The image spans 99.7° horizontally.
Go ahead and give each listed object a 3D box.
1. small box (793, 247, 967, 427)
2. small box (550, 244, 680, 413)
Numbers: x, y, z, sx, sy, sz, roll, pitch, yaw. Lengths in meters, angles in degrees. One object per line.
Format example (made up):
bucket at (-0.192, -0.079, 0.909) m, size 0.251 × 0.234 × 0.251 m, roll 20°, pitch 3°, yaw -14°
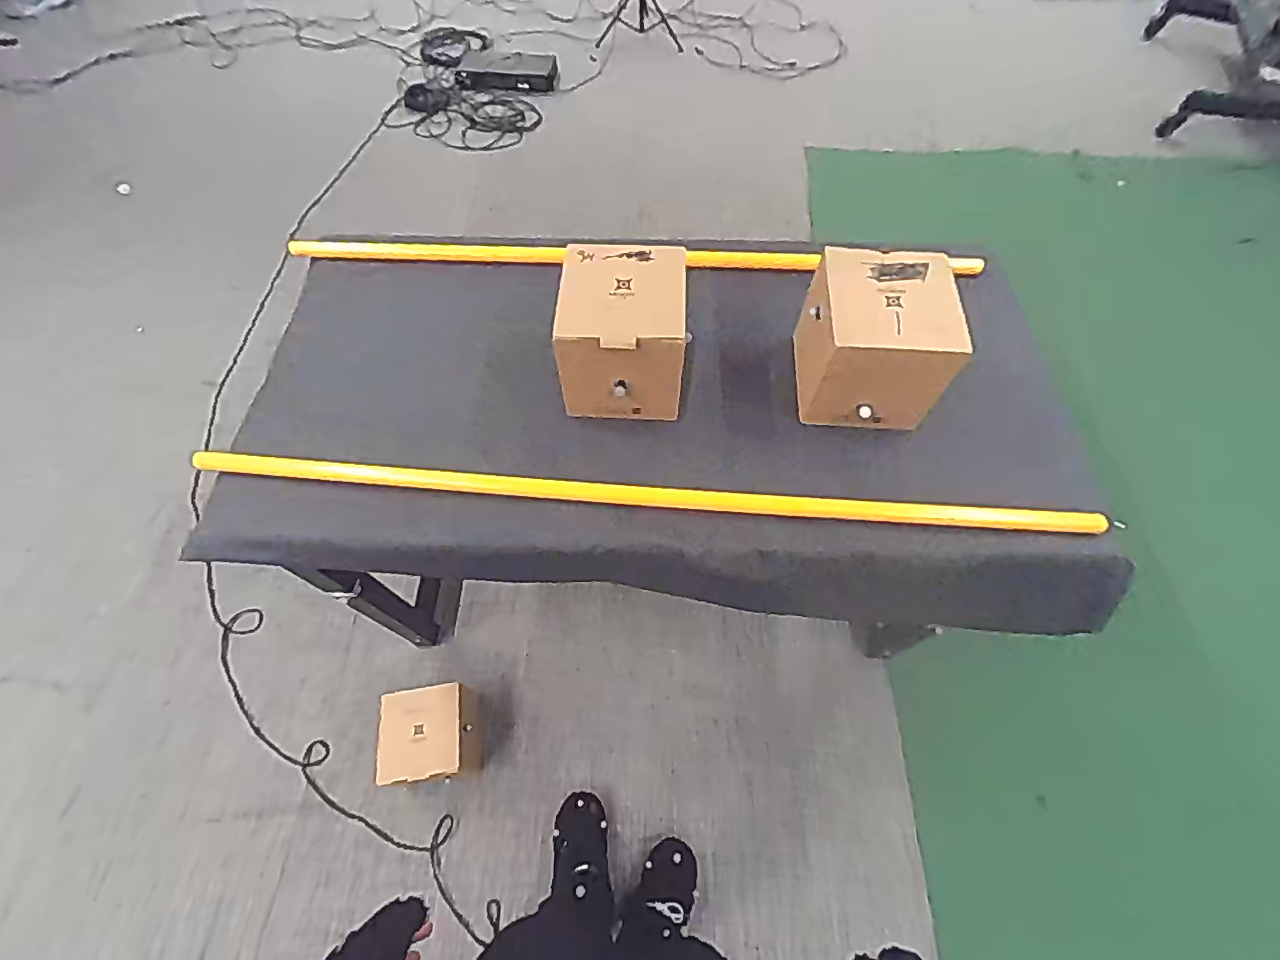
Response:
small box at (0.318, -0.197, 0.761) m, size 0.168 × 0.176 × 0.179 m, roll 3°, pitch 62°, yaw 3°
small box at (-0.027, -0.207, 0.775) m, size 0.168 × 0.176 × 0.179 m, roll -1°, pitch 60°, yaw 1°
